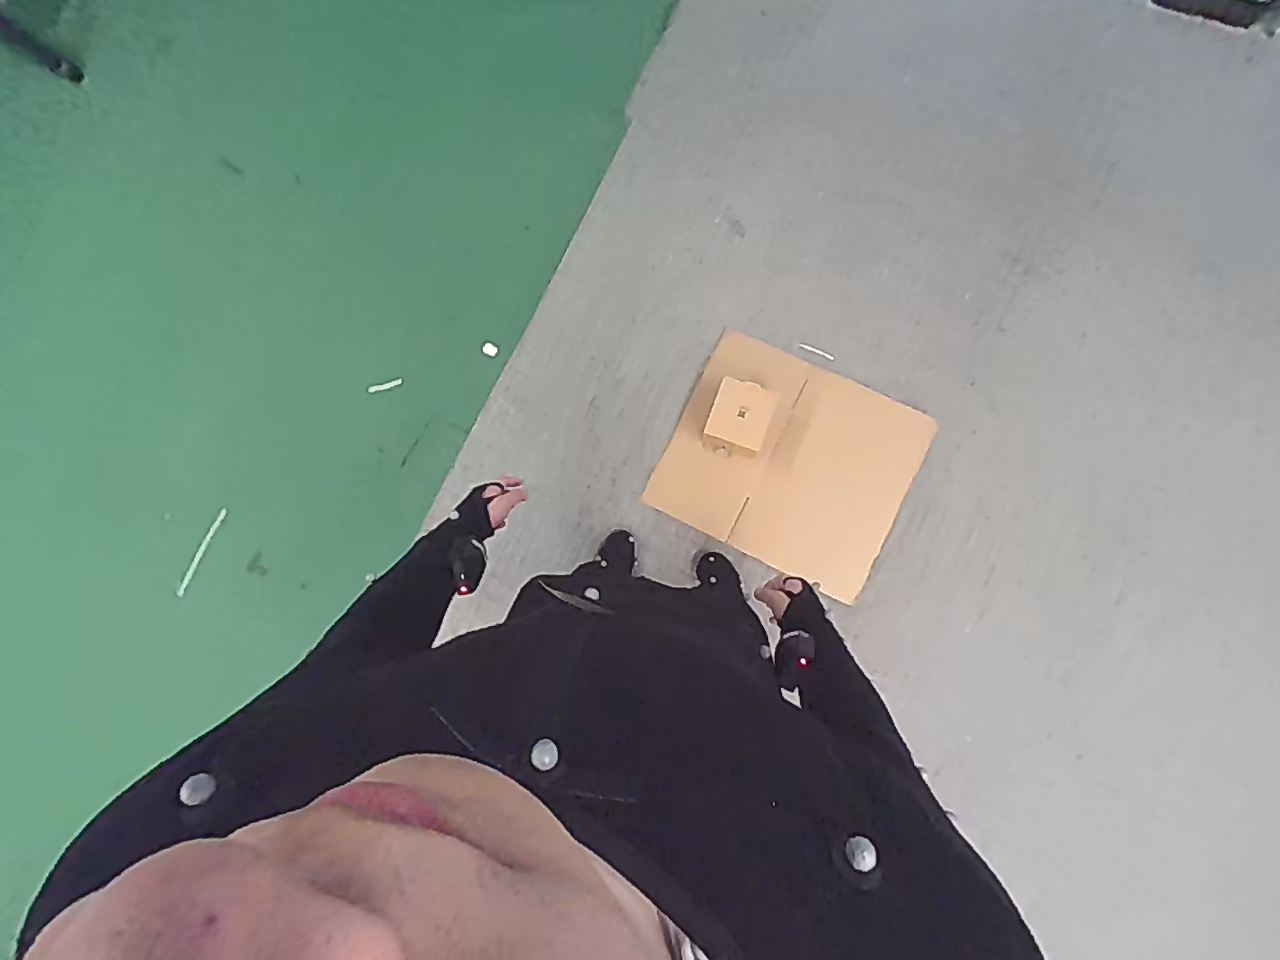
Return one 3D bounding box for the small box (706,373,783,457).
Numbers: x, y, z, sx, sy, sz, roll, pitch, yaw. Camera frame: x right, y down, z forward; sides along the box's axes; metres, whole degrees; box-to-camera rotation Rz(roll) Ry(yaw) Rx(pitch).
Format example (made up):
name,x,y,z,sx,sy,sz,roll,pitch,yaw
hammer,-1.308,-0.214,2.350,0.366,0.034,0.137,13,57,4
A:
name,x,y,z,sx,sy,sz,roll,pitch,yaw
small box,0.292,-0.180,1.556,0.168,0.176,0.179,21,87,8
